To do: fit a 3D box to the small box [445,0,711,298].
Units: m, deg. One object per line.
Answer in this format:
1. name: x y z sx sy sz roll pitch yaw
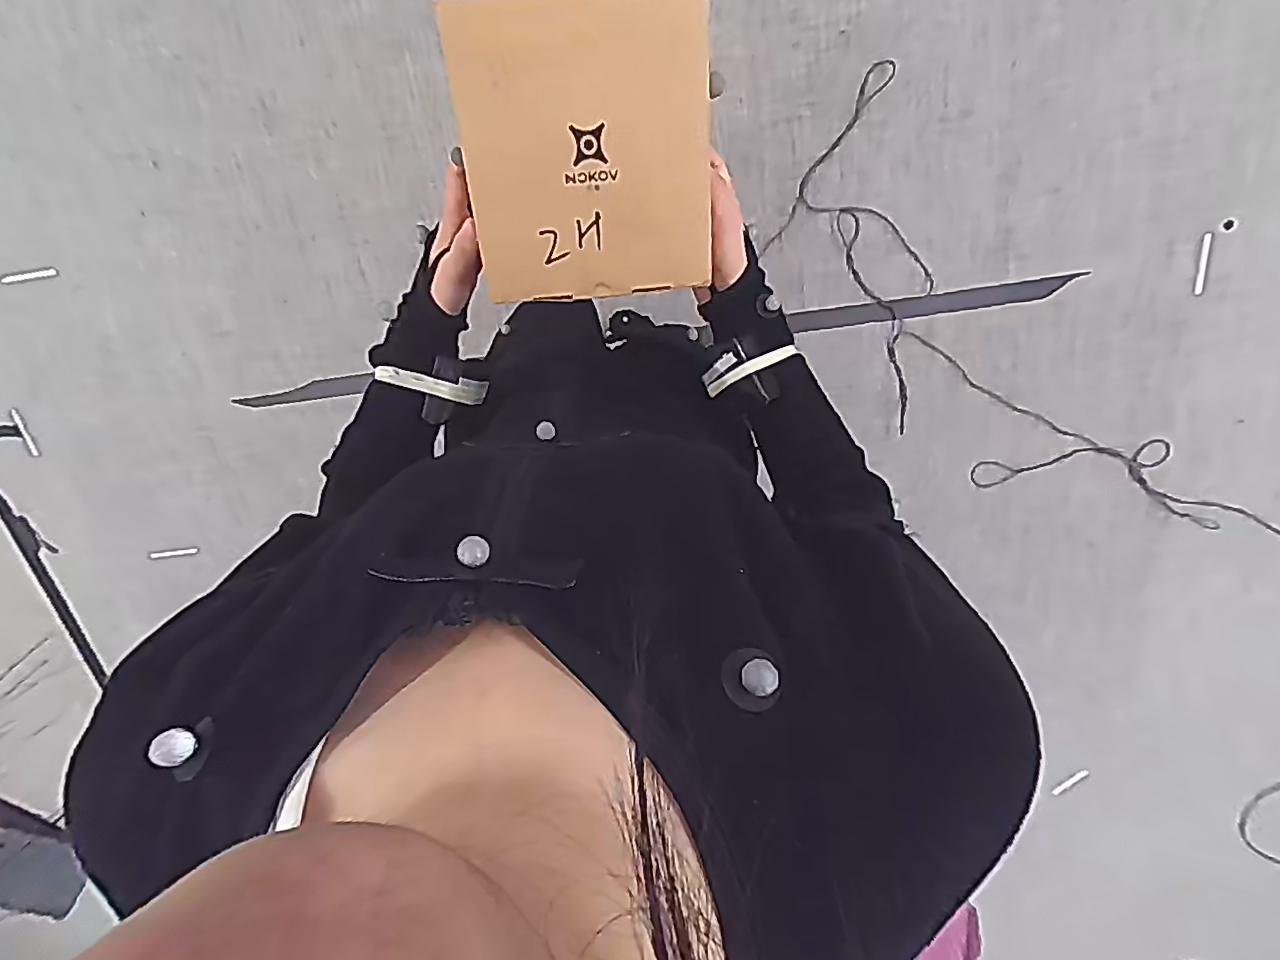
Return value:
1. small box: -0.040 -0.251 0.434 0.168 0.176 0.179 -5 116 -2
